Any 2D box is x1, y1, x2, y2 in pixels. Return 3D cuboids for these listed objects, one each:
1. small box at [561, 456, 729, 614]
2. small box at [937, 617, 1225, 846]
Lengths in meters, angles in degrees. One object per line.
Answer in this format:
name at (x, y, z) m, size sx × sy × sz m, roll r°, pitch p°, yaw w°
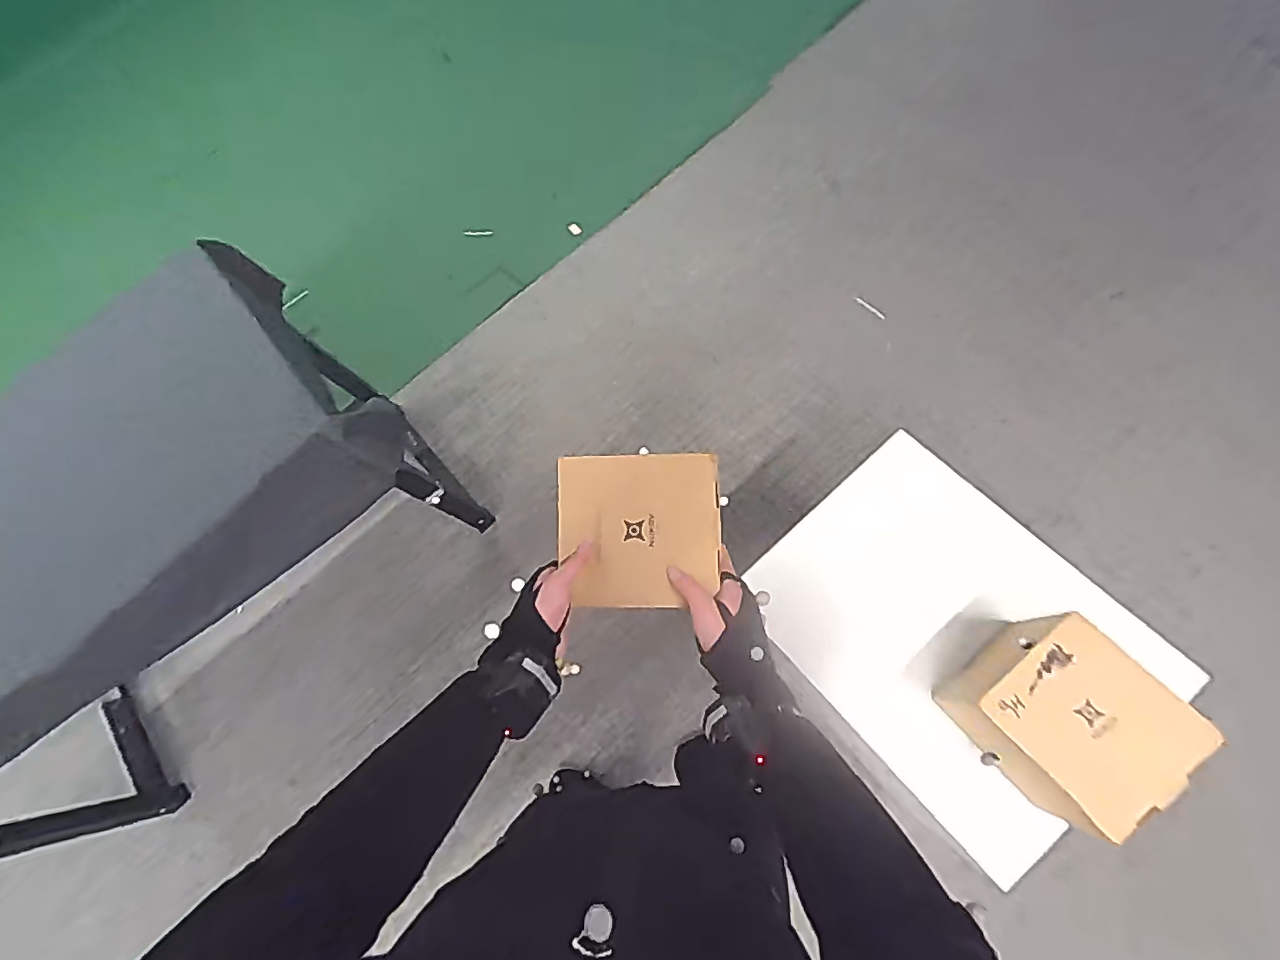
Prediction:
small box at (0.009, 0.066, 0.648) m, size 0.179 × 0.176 × 0.168 m, roll -3°, pitch 82°, yaw 5°
small box at (0.514, 0.291, 0.664) m, size 0.168 × 0.176 × 0.179 m, roll -39°, pitch 70°, yaw -5°
